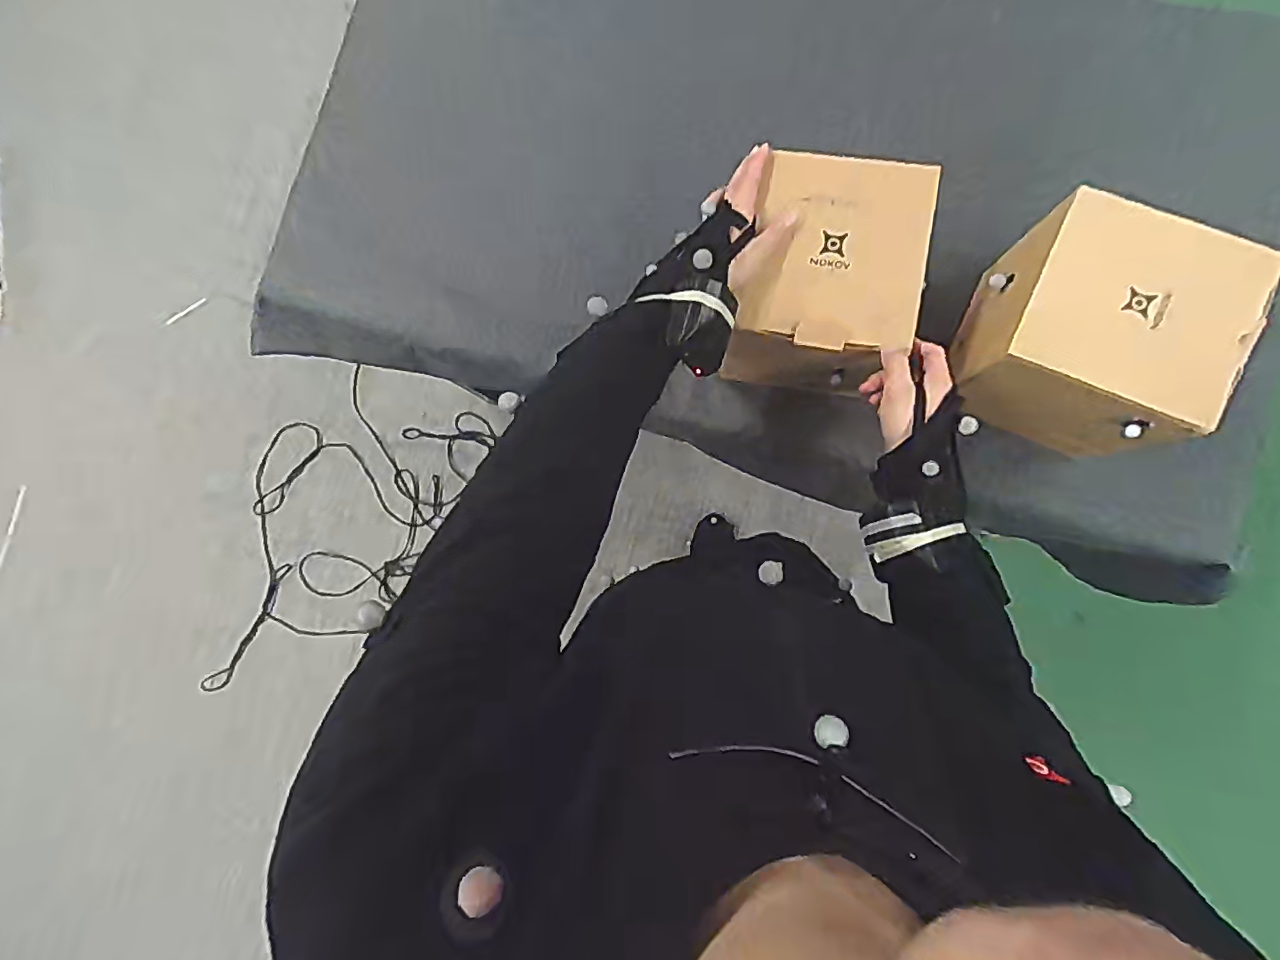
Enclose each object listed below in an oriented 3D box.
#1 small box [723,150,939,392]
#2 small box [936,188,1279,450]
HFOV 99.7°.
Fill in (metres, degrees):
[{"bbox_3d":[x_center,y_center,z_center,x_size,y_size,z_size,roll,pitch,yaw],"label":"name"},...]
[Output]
[{"bbox_3d":[0.182,-0.202,0.568,0.168,0.176,0.179,9,85,6],"label":"small box"},{"bbox_3d":[0.434,-0.141,0.537,0.179,0.176,0.168,24,88,7],"label":"small box"}]
